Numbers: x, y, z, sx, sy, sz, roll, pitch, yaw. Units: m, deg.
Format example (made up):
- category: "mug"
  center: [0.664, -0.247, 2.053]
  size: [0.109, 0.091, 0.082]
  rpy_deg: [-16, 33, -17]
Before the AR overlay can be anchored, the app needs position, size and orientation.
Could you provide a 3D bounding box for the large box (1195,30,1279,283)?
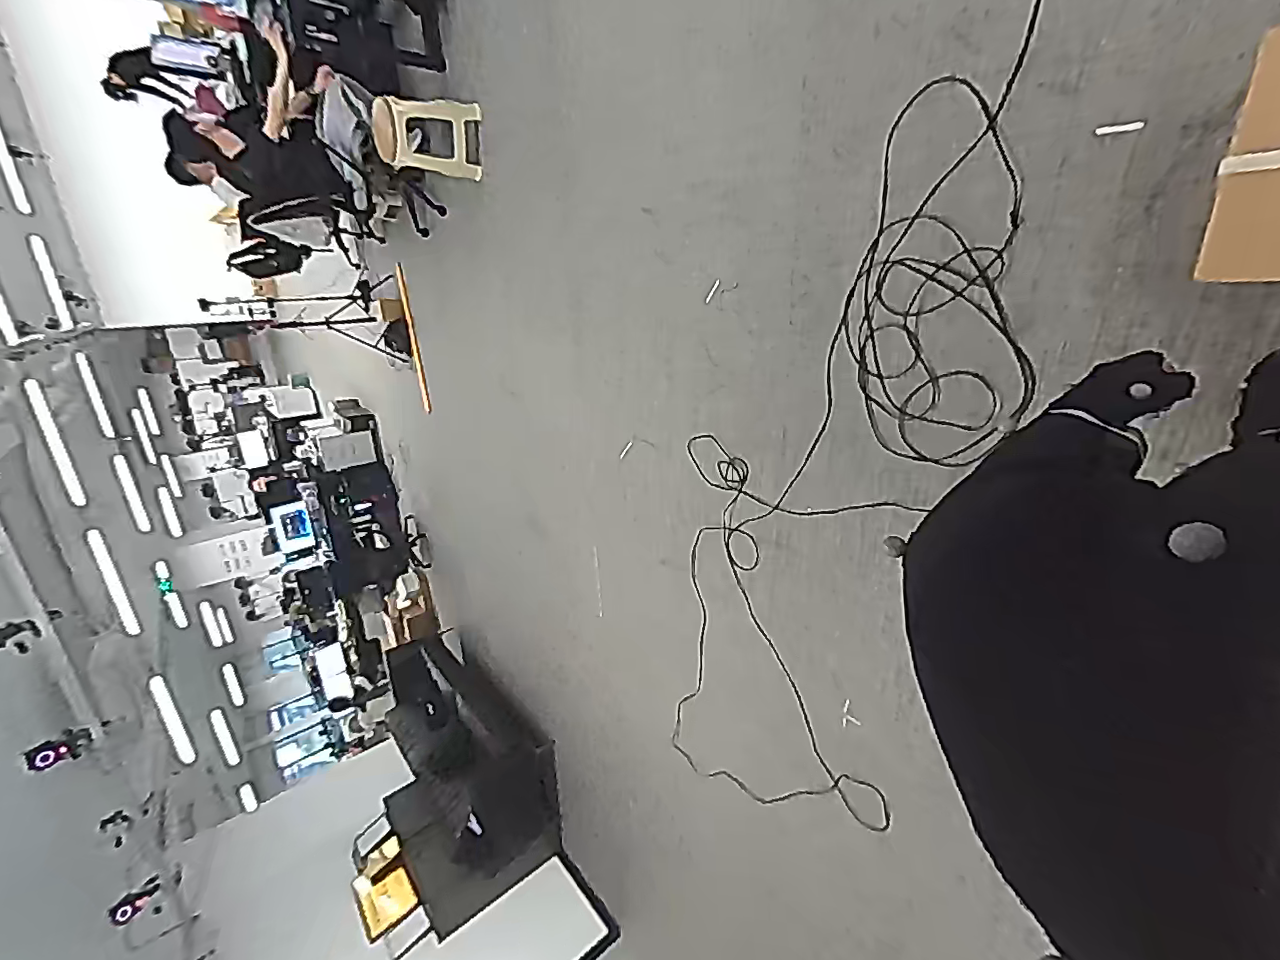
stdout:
- category: "large box"
  center: [1.059, -0.432, 0.705]
  size: [0.408, 0.320, 0.320]
  rpy_deg: [20, 119, 46]
